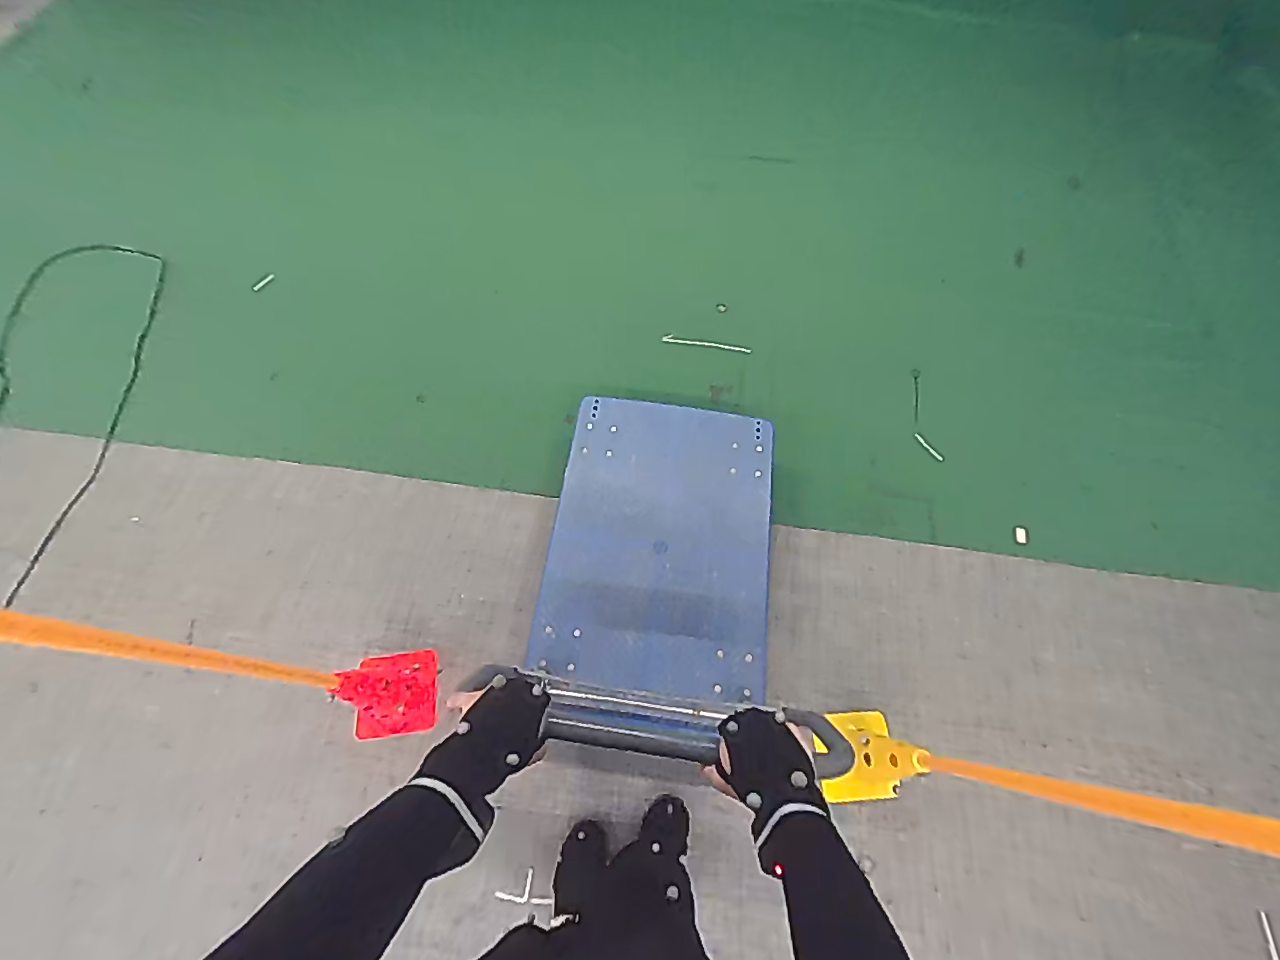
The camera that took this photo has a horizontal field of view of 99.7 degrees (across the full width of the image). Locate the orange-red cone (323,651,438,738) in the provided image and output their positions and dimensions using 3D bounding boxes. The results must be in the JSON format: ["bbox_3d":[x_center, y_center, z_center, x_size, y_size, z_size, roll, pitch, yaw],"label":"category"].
[{"bbox_3d":[-0.624,0.479,1.242,0.199,0.360,0.198,-7,65,-4],"label":"orange-red cone"}]
